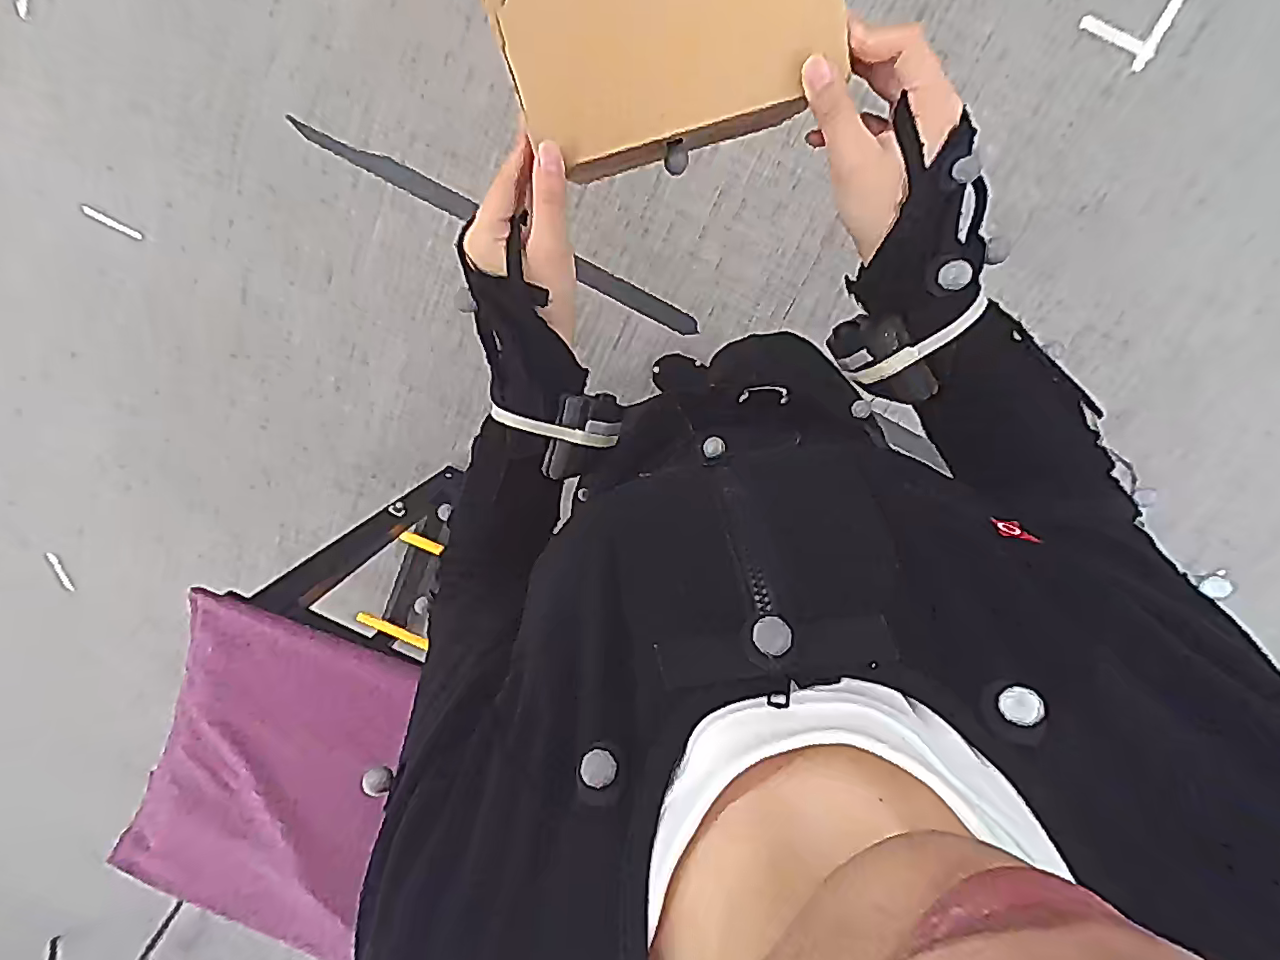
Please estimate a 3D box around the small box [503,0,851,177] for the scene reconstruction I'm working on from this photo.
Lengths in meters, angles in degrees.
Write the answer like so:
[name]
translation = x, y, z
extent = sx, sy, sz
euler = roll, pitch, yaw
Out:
[small box]
translation = 0.015, -0.304, 0.340
extent = 0.179, 0.176, 0.168
euler = -12, 116, 9
